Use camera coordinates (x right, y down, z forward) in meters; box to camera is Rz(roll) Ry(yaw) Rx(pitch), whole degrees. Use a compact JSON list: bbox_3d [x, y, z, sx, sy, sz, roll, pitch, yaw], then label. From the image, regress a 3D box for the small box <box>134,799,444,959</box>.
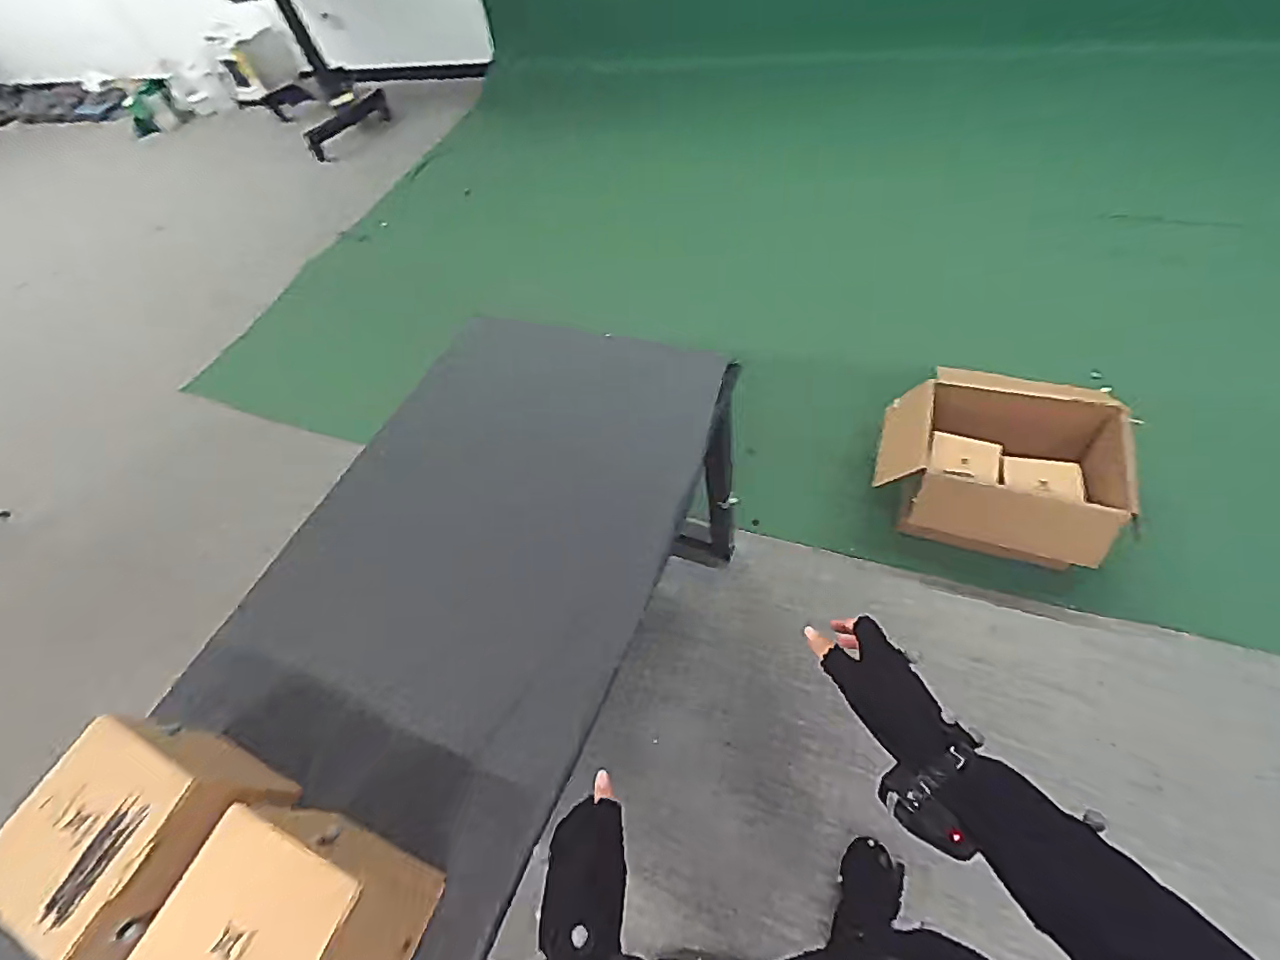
[{"bbox_3d":[-0.339,0.450,0.542,0.179,0.176,0.168,13,59,20],"label":"small box"}]
